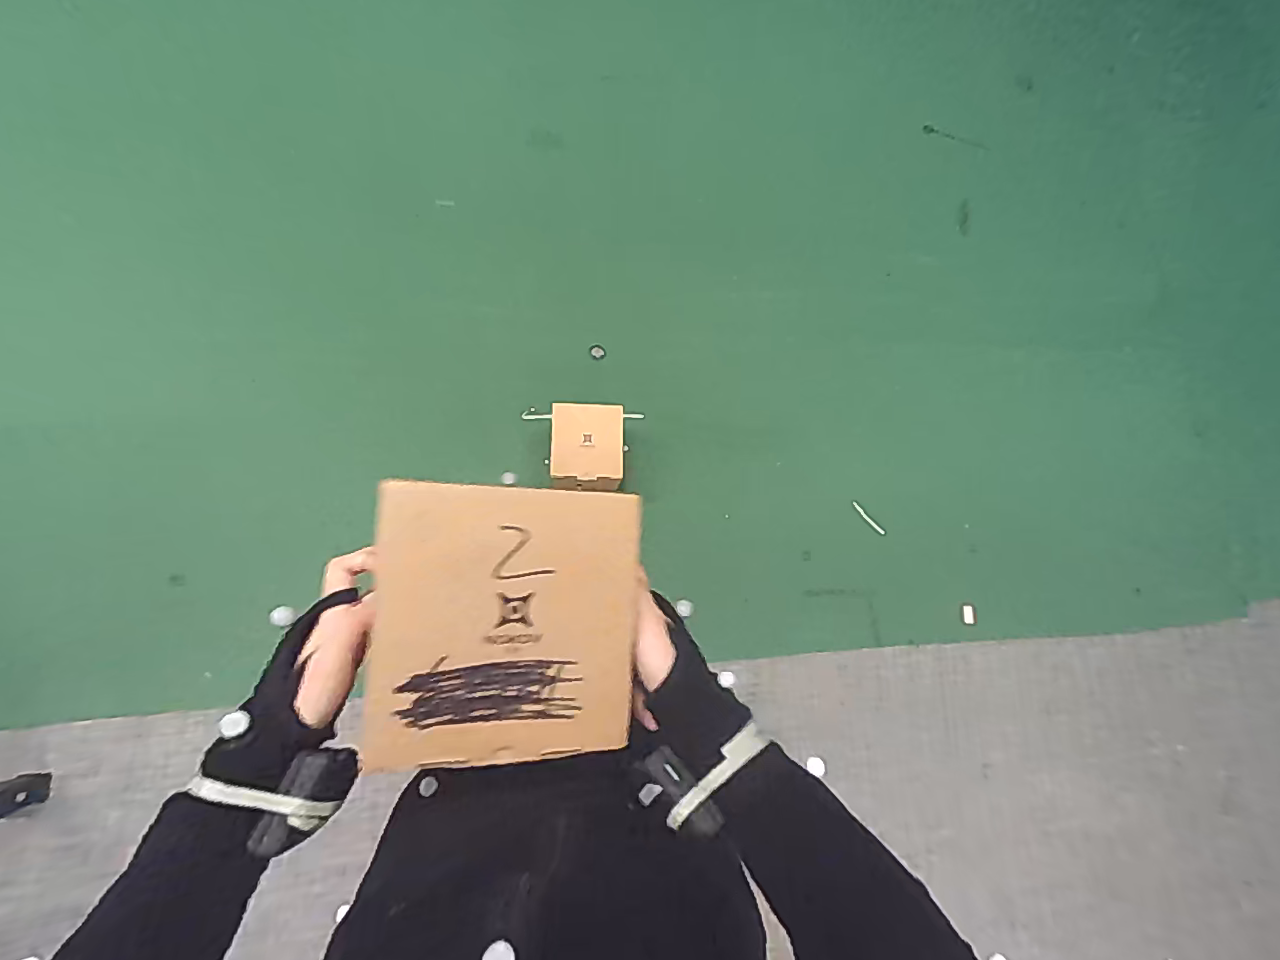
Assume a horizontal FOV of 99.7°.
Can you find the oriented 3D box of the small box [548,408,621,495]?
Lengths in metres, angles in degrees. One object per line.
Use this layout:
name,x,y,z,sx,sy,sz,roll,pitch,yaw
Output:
small box,-0.139,-0.064,1.318,0.168,0.176,0.179,1,80,-9
